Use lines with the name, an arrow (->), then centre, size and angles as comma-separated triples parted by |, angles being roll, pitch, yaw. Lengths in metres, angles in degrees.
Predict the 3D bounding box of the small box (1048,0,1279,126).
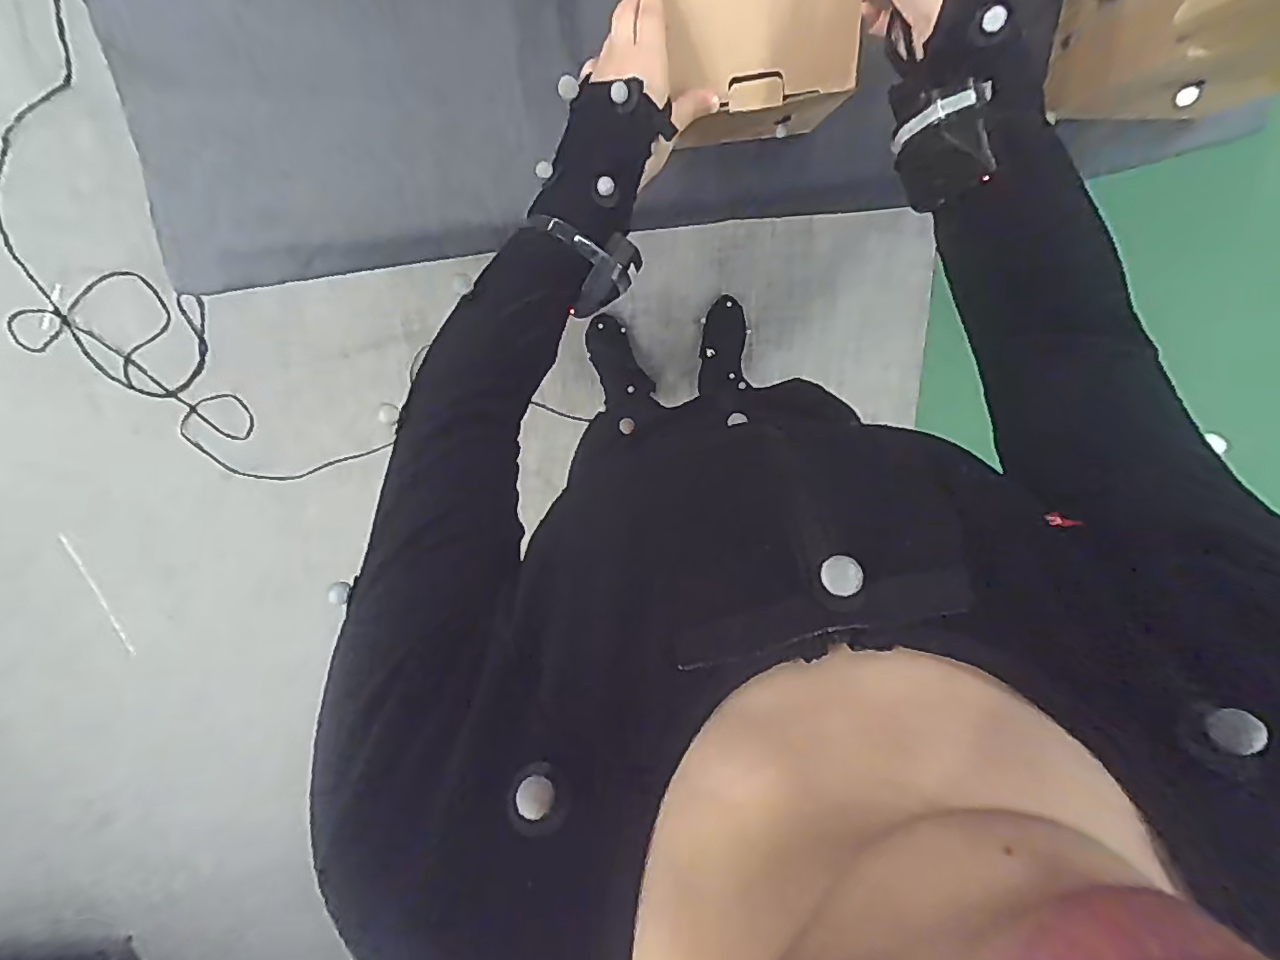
small box -> 0.512, -0.426, 0.473 | 0.179, 0.176, 0.168 | 1, 110, 1

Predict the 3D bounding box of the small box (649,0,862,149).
small box -> 0.093, -0.414, 0.487 | 0.168, 0.176, 0.179 | -4, 112, 4
